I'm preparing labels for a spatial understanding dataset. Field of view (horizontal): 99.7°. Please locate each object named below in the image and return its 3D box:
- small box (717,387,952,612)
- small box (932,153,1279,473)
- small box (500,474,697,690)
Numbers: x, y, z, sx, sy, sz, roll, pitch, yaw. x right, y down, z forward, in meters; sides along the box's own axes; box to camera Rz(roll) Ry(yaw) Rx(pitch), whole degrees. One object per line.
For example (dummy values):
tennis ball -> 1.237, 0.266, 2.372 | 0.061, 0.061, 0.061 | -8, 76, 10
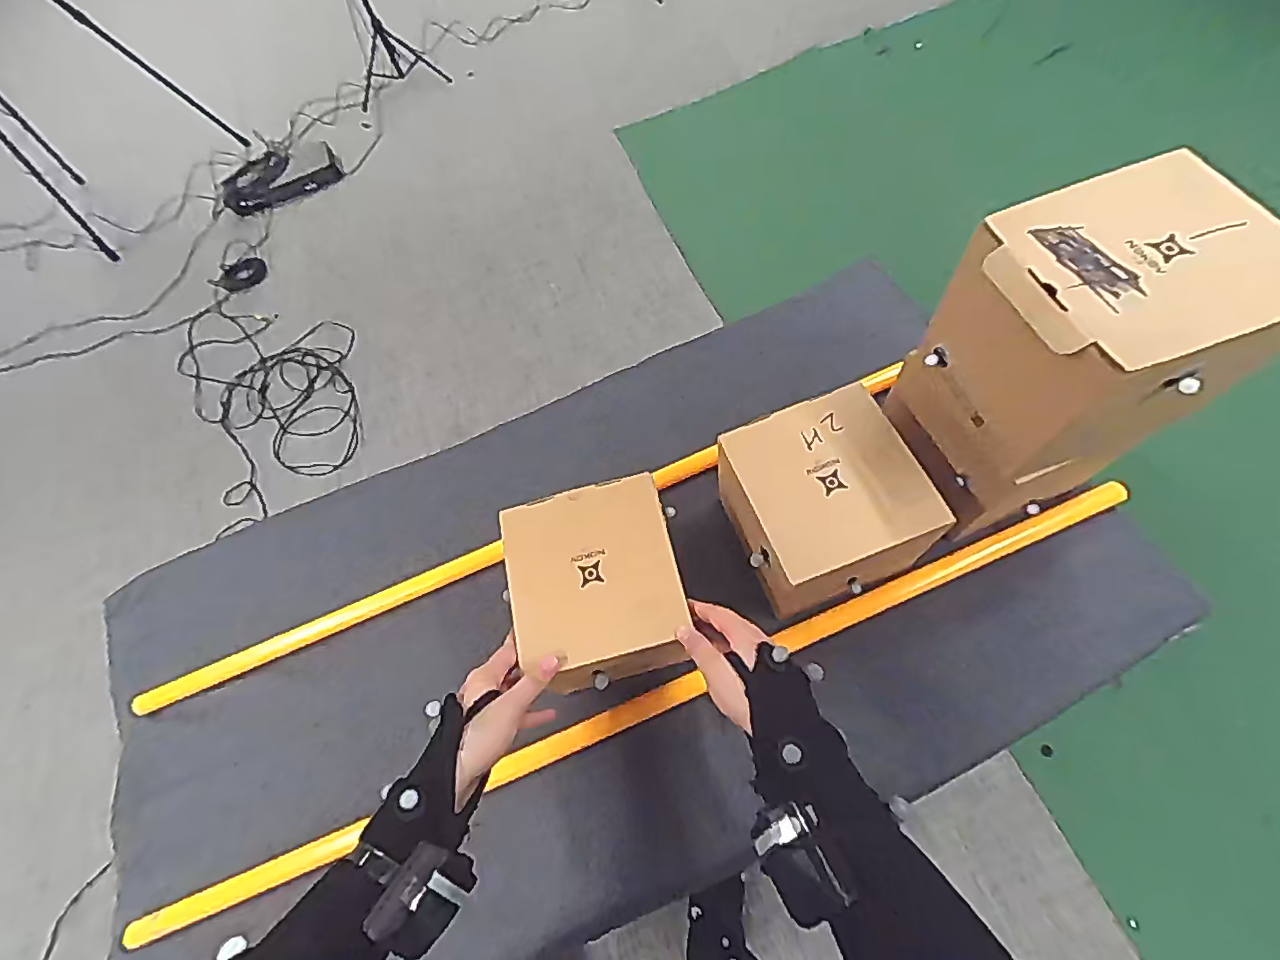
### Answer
small box -> 0.196, 0.035, 0.598 | 0.168, 0.176, 0.179 | -21, 64, 0
small box -> 0.382, -0.128, 0.462 | 0.179, 0.176, 0.168 | -19, 64, -1
small box -> -0.038, 0.123, 0.595 | 0.168, 0.176, 0.179 | -16, 63, -1
